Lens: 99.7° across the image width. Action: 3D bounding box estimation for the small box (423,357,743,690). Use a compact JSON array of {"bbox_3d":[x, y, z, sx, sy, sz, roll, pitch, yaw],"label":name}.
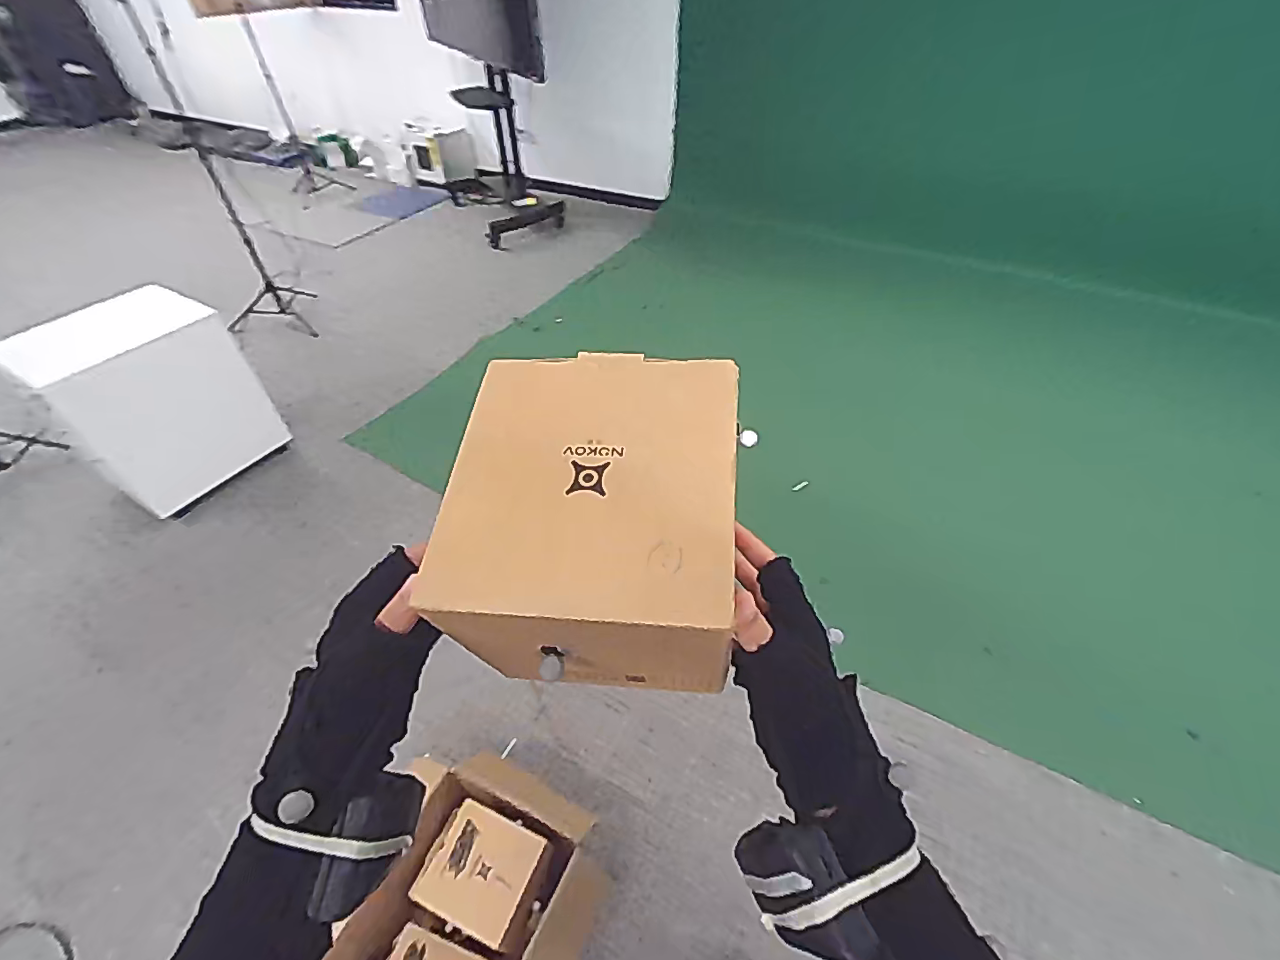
[{"bbox_3d":[-0.016,0.037,0.375,0.168,0.176,0.179,2,57,7],"label":"small box"}]
